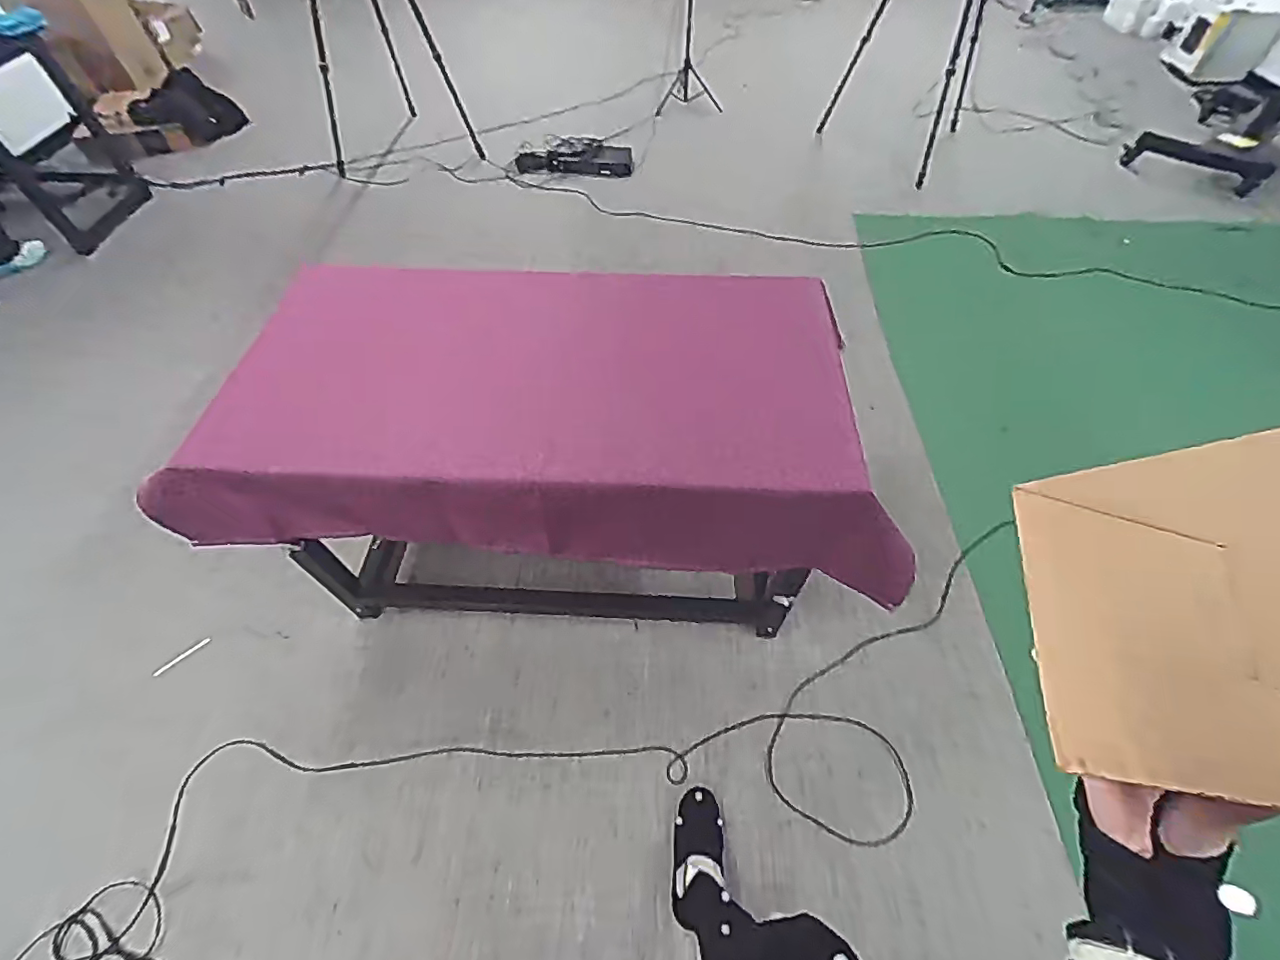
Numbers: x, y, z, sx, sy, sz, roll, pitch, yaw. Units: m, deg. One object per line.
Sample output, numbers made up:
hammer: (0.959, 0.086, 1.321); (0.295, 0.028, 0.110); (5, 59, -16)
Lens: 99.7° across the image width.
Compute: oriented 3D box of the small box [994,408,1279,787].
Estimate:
small box: (0.337, 0.071, 0.291); (0.176, 0.179, 0.168); (16, 67, -28)
